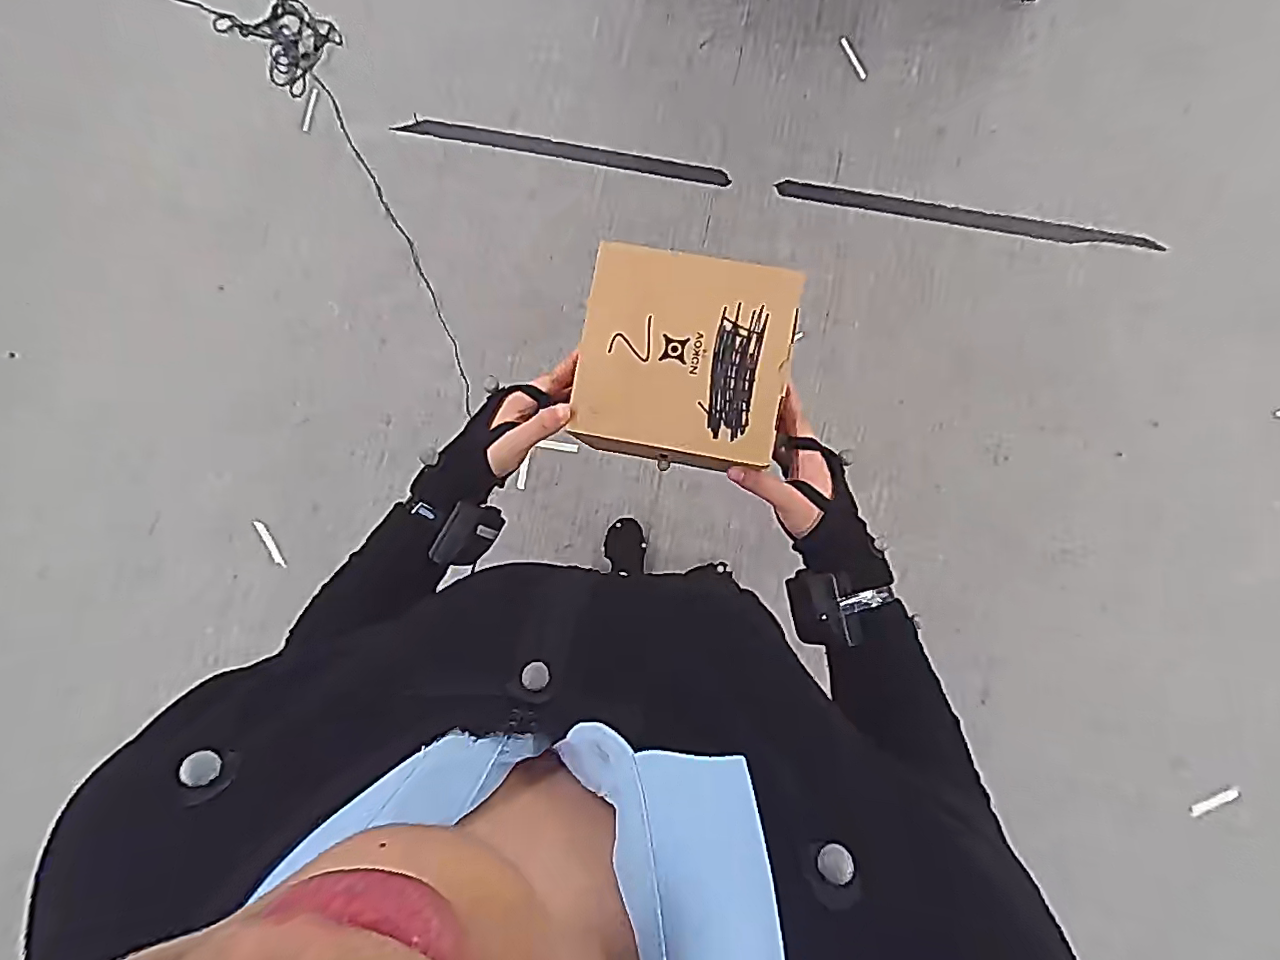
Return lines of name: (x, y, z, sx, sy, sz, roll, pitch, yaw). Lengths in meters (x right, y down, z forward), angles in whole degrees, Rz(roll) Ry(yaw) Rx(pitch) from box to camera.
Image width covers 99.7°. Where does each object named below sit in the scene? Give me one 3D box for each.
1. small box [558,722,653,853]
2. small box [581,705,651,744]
small box: (-0.068, 0.680, 1.215, 0.168, 0.176, 0.179, 16, 86, 4)
small box: (-0.066, 0.696, 1.377, 0.168, 0.176, 0.179, 9, 87, 4)
